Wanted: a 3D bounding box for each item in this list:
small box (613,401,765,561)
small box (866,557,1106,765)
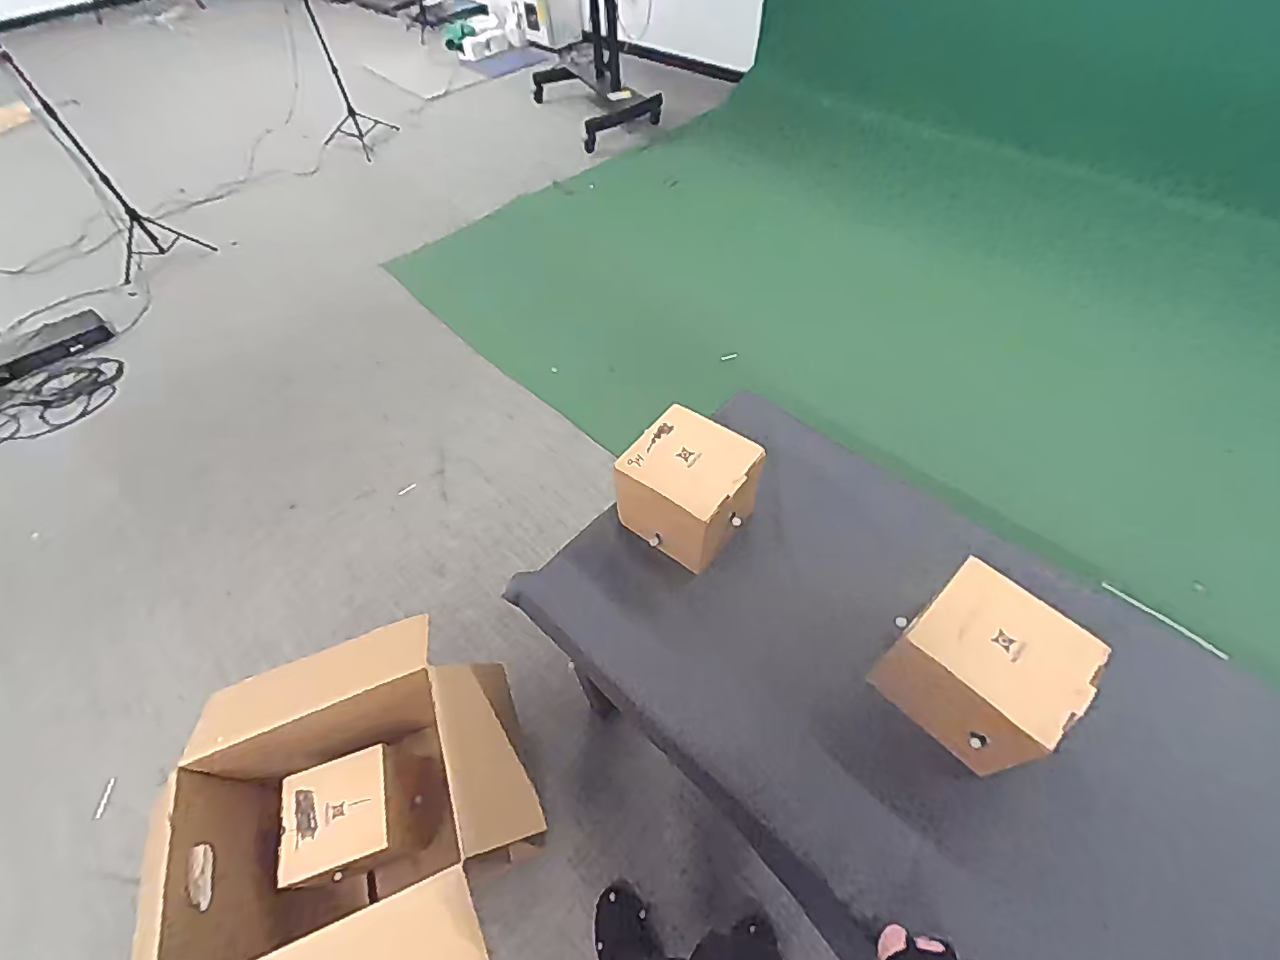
[{"bbox_3d":[0.077,0.010,0.888,0.179,0.176,0.168,33,61,22],"label":"small box"},{"bbox_3d":[0.432,0.241,0.704,0.168,0.176,0.179,-37,59,-24],"label":"small box"}]
